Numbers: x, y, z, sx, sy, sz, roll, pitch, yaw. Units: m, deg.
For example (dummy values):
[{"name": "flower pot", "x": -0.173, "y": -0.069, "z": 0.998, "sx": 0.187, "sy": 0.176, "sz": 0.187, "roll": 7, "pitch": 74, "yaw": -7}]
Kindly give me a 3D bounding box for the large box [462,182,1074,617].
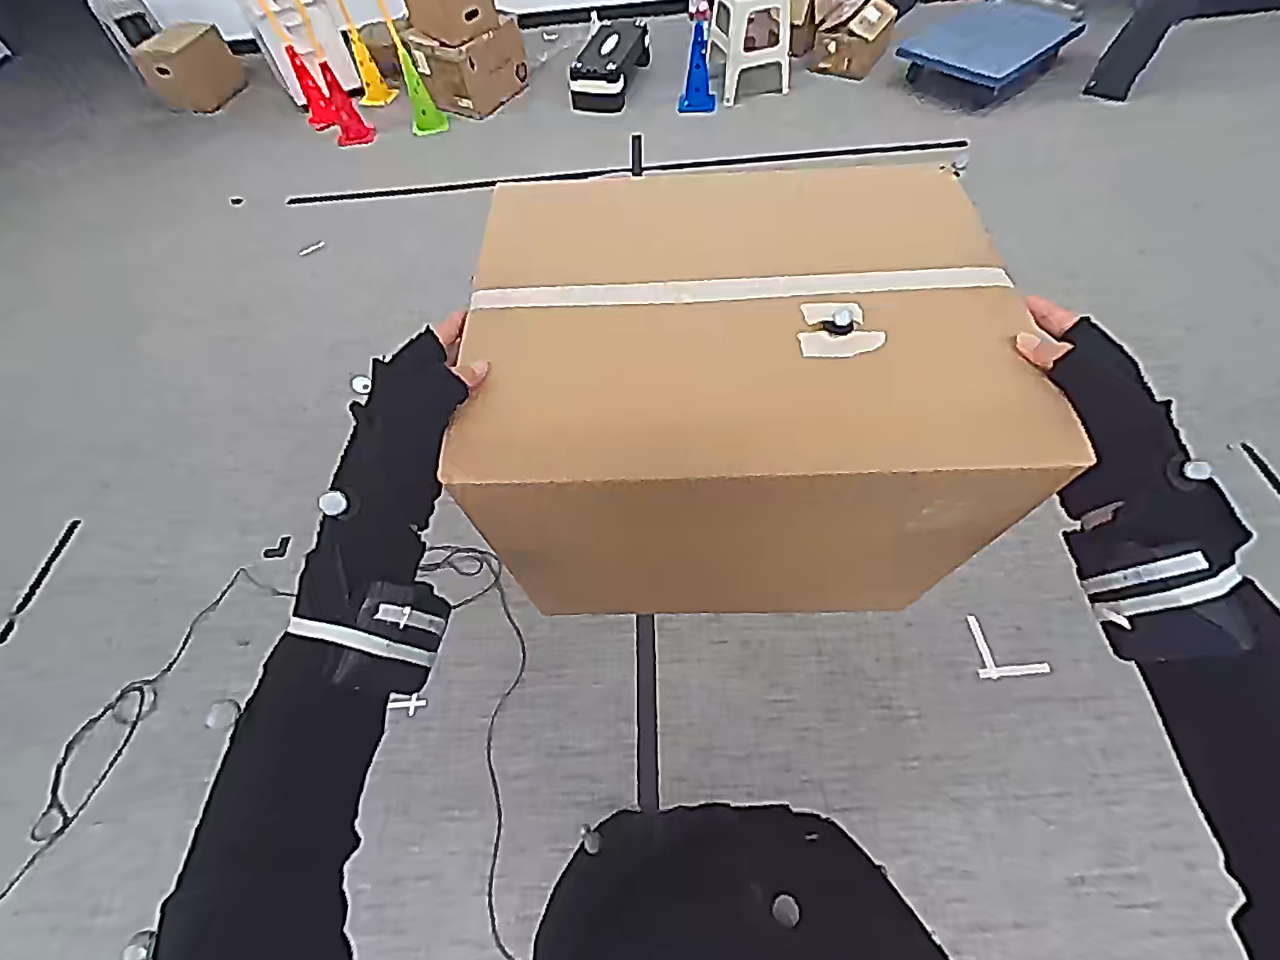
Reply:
[{"name": "large box", "x": 0.081, "y": -0.059, "z": 0.548, "sx": 0.408, "sy": 0.320, "sz": 0.320, "roll": -1, "pitch": 61, "yaw": 1}]
